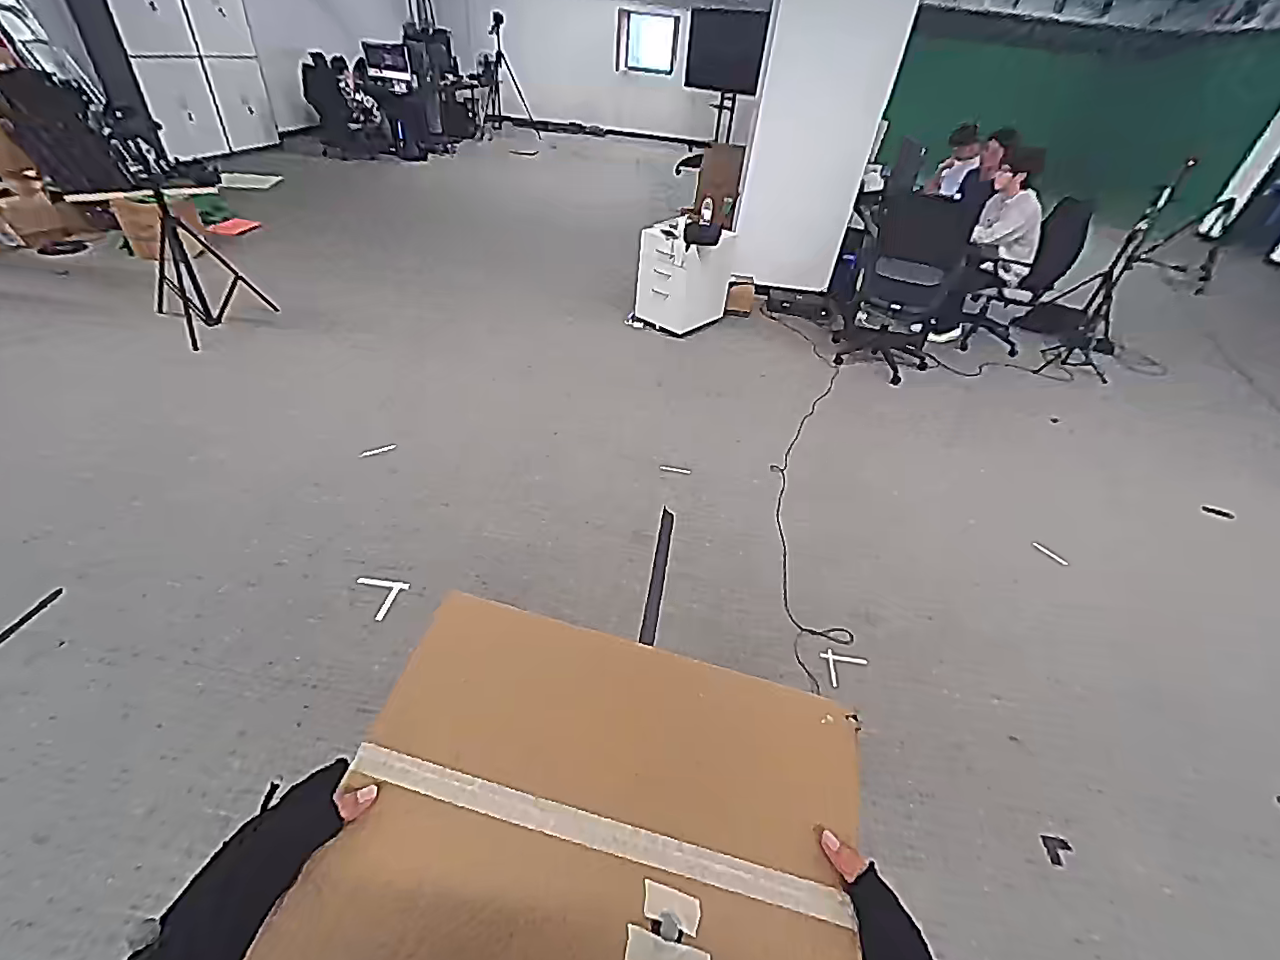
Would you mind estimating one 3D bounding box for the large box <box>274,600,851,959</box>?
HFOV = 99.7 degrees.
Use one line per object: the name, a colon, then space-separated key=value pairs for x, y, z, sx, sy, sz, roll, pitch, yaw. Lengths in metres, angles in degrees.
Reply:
large box: x=-0.045 y=0.371 z=0.548 sx=0.408 sy=0.320 sz=0.320 roll=15 pitch=51 yaw=4
